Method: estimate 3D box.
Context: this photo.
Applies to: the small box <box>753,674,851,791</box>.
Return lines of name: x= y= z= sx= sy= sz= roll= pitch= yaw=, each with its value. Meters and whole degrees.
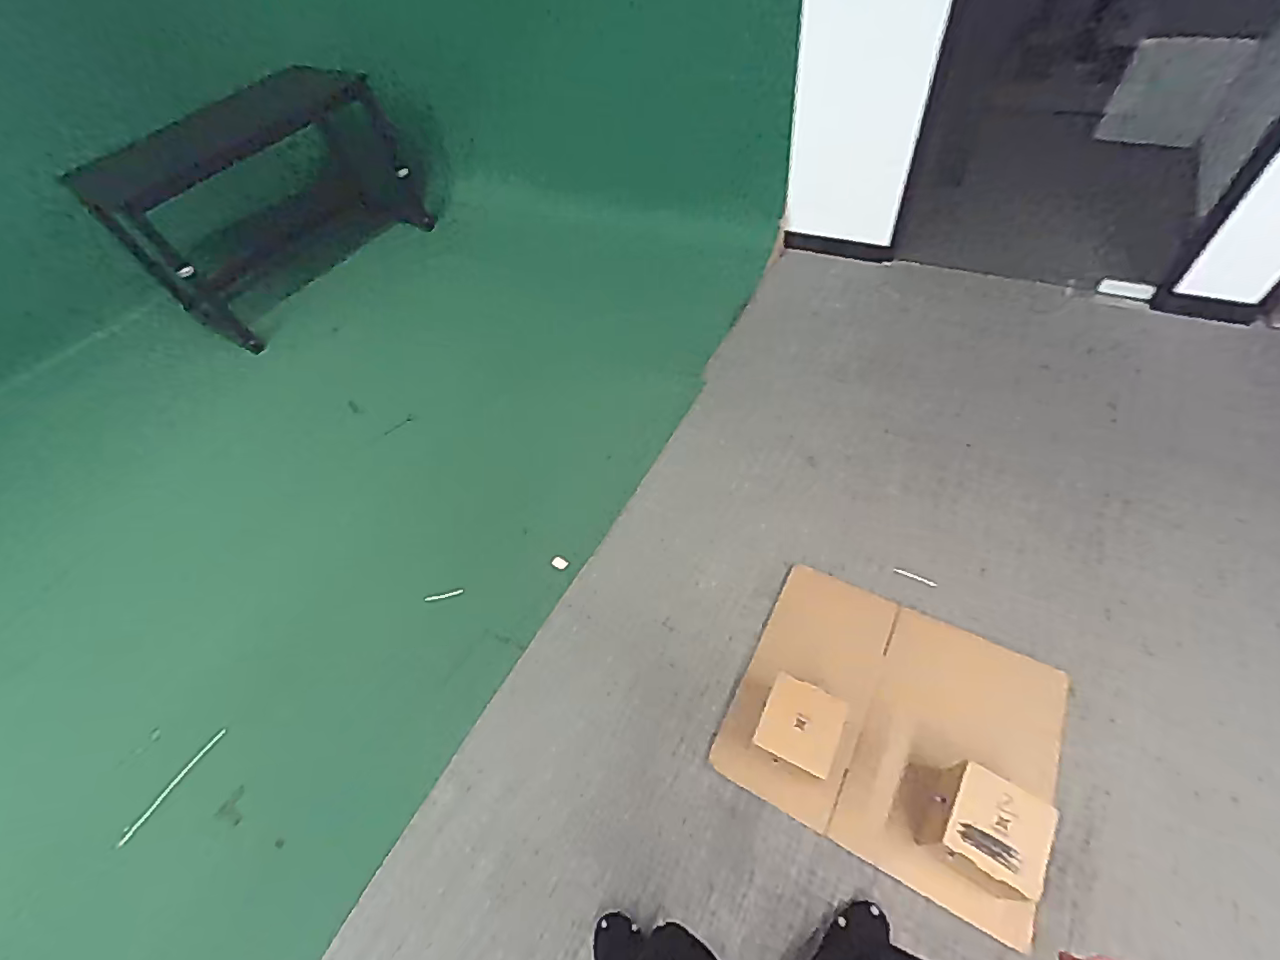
small box: x=0.368 y=0.585 z=1.245 sx=0.168 sy=0.176 sz=0.179 roll=20 pitch=59 yaw=22
